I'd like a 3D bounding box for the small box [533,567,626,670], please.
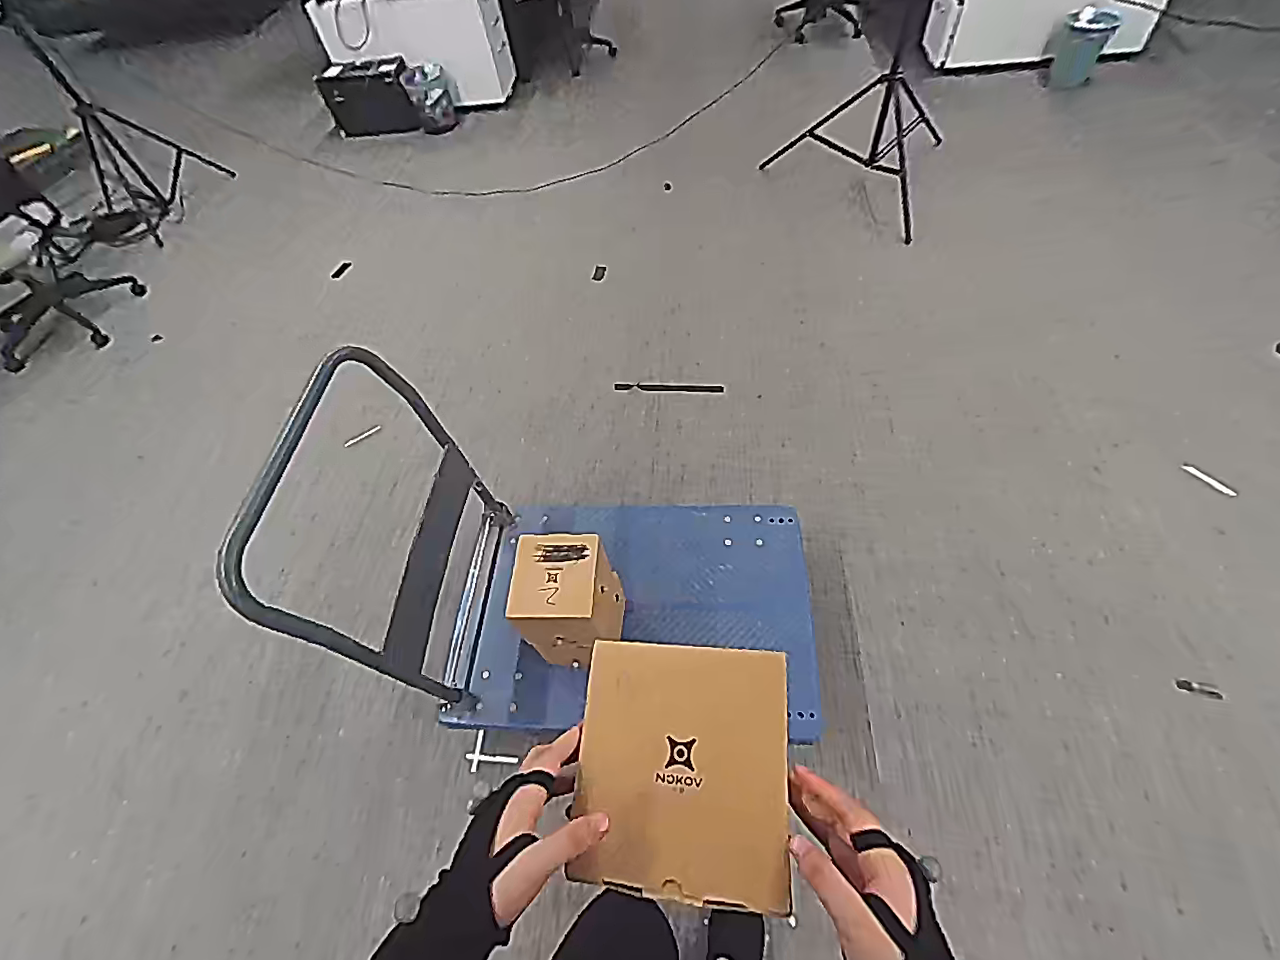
[{"bbox_3d":[-0.128,0.318,1.239,0.168,0.176,0.179,2,57,9],"label":"small box"}]
